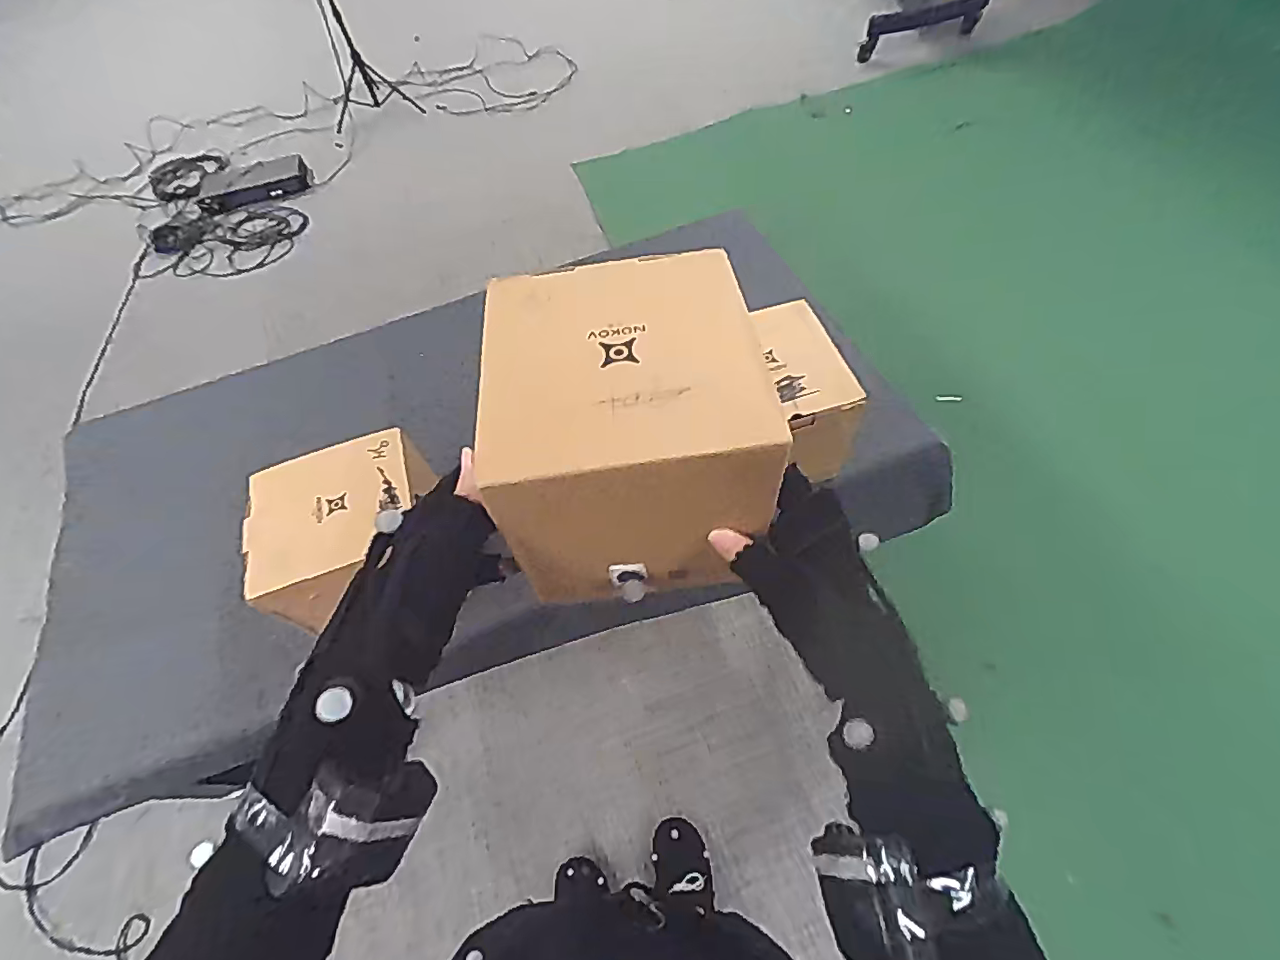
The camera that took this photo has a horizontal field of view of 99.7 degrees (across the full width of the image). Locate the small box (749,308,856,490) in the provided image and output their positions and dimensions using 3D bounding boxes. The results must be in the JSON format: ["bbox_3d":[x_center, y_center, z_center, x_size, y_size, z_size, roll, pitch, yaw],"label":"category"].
[{"bbox_3d":[0.157,-0.090,0.717,0.168,0.176,0.179,-15,58,-3],"label":"small box"}]

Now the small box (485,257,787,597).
[{"bbox_3d":[-0.004,-0.033,0.401,0.168,0.176,0.179,-8,55,1],"label":"small box"}]

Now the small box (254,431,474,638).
[{"bbox_3d":[-0.328,0.074,0.666,0.179,0.176,0.168,-19,58,-6],"label":"small box"}]
